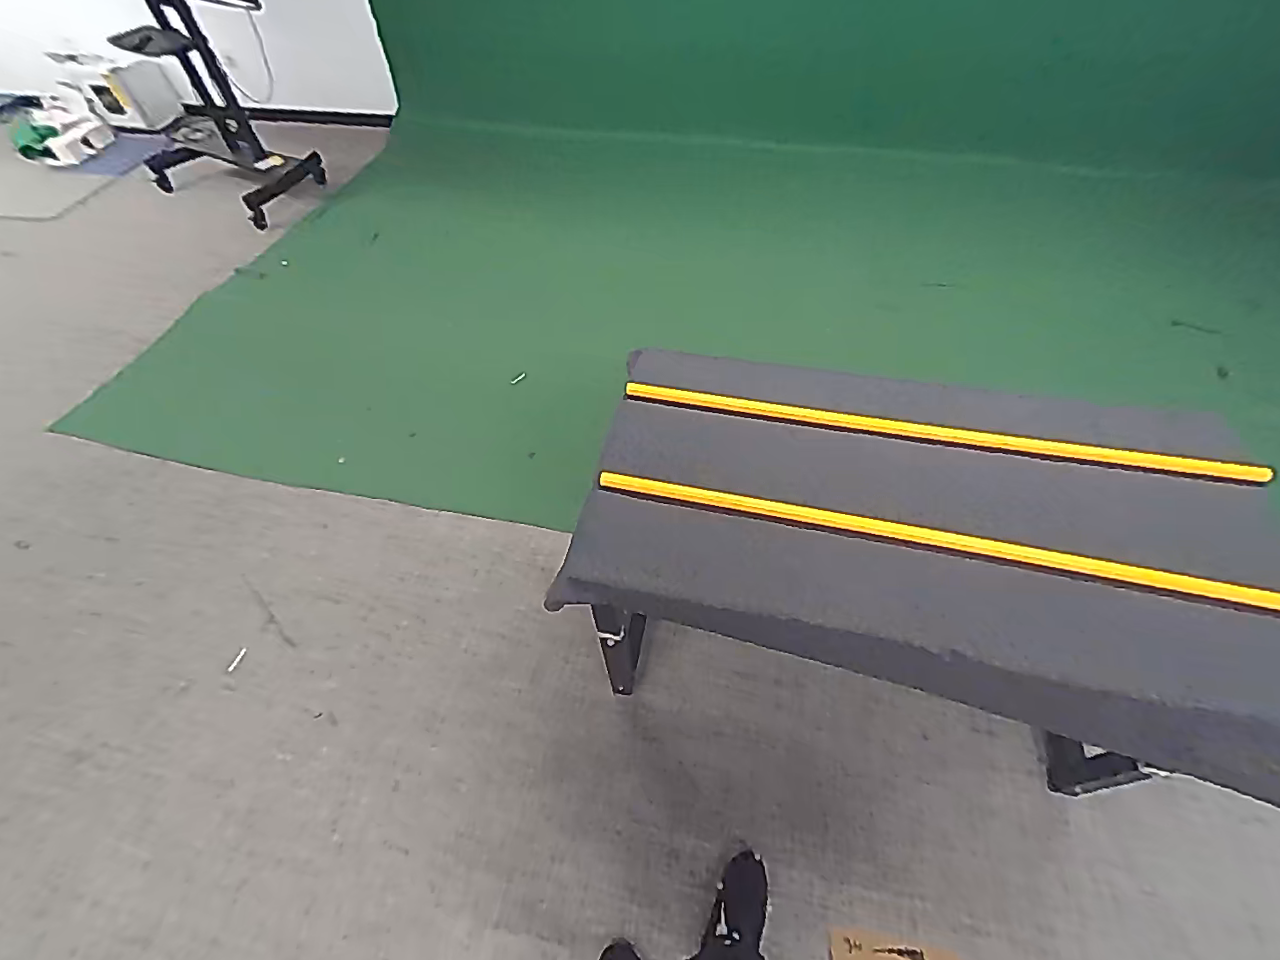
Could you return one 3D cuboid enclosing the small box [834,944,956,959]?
[{"bbox_3d":[0.329,0.715,0.641,0.168,0.179,0.176,-3,88,13],"label":"small box"}]
